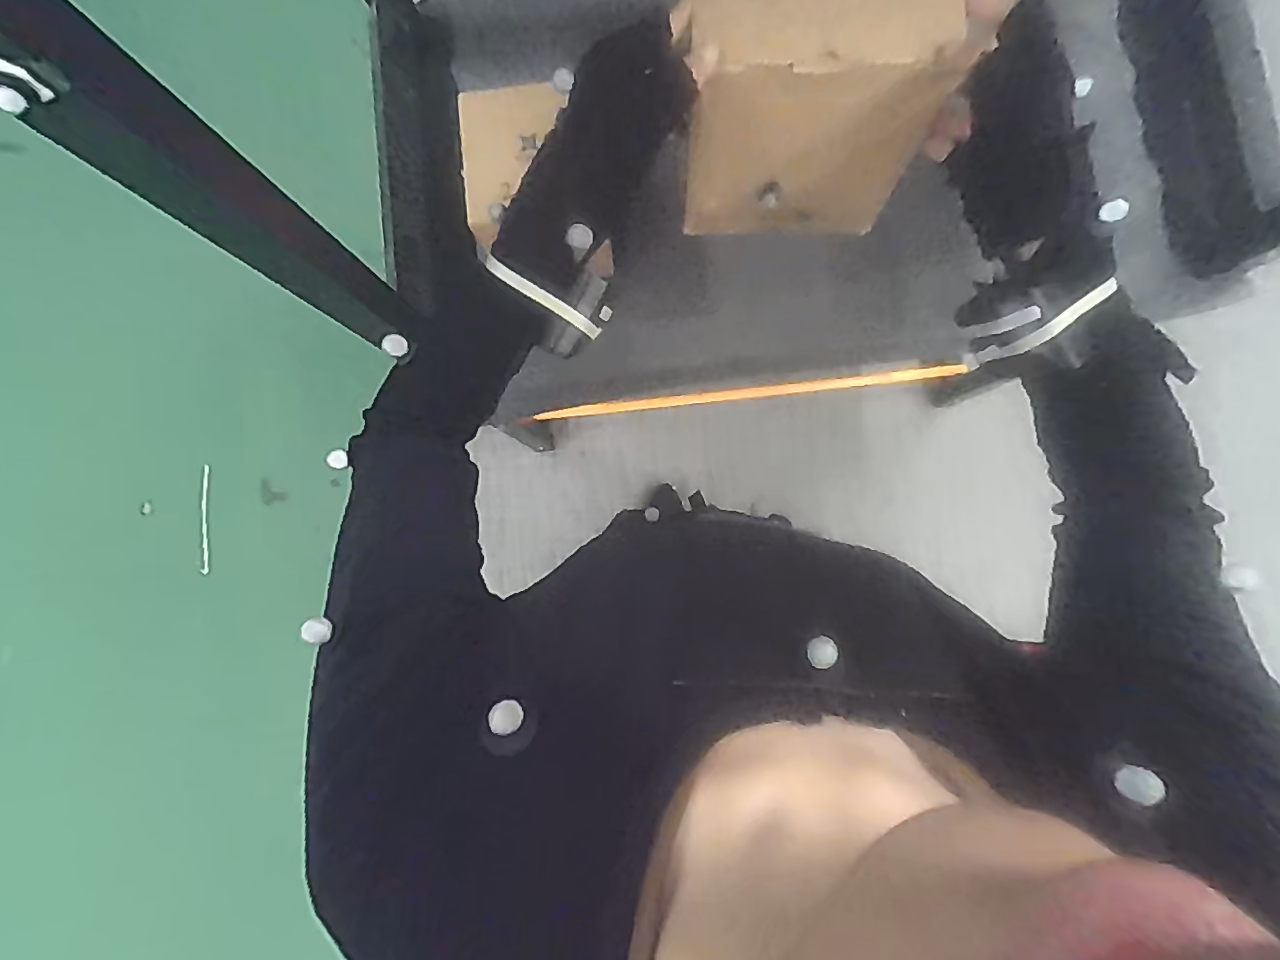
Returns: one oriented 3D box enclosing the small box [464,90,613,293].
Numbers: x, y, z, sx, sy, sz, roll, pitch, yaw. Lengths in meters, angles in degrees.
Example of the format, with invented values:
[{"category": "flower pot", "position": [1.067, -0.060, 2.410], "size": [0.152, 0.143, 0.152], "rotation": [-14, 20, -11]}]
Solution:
[{"category": "small box", "position": [-0.130, -0.383, 0.742], "size": [0.168, 0.176, 0.179], "rotation": [-6, 83, 2]}]
